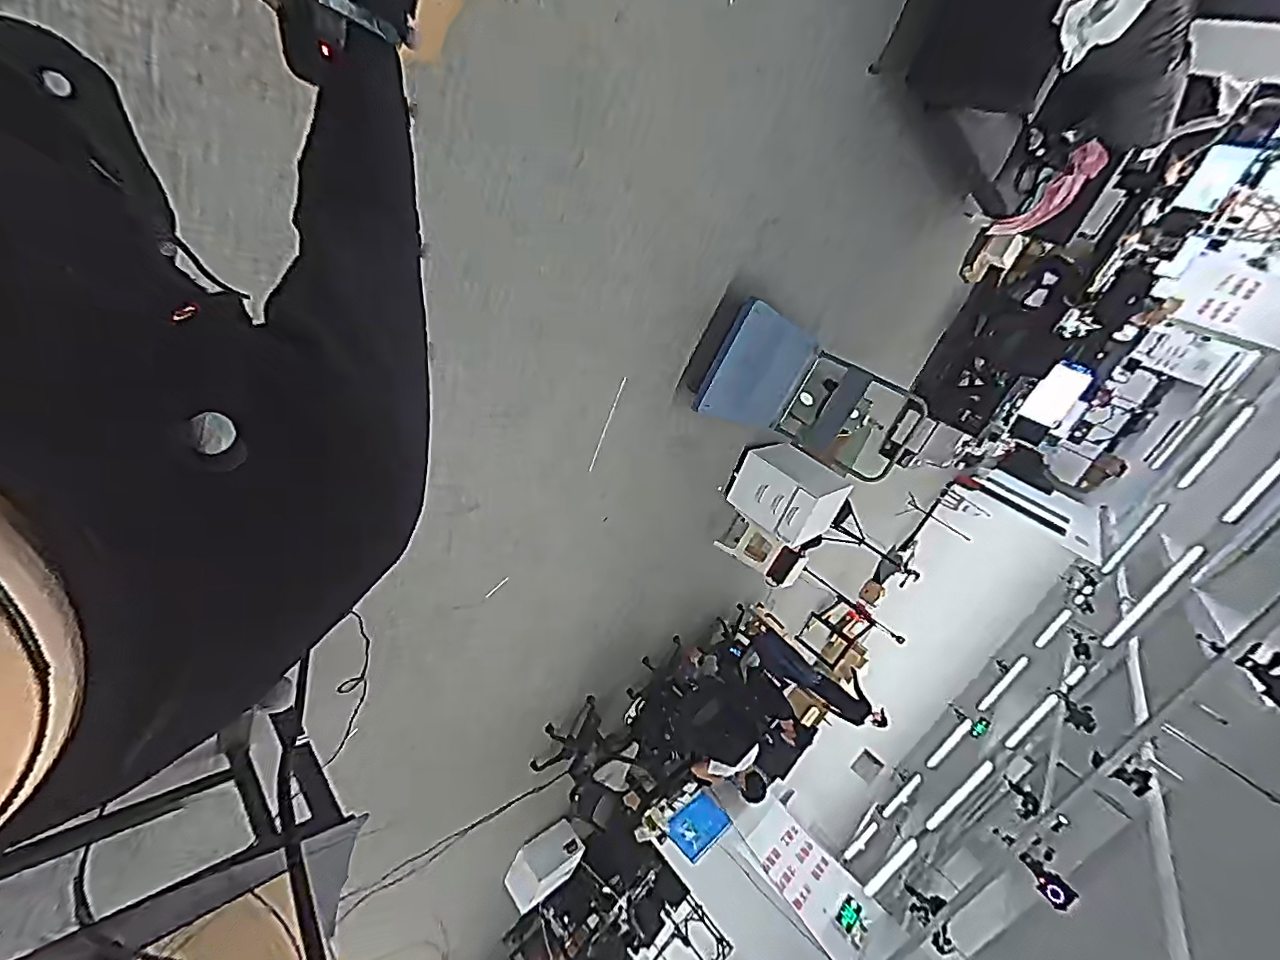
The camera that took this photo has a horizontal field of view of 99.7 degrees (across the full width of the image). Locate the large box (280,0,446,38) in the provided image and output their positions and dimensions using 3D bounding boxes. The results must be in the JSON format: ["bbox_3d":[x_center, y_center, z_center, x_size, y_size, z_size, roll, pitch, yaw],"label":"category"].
[{"bbox_3d":[-0.336,-0.686,0.459,0.408,0.320,0.320,35,119,-25],"label":"large box"}]
